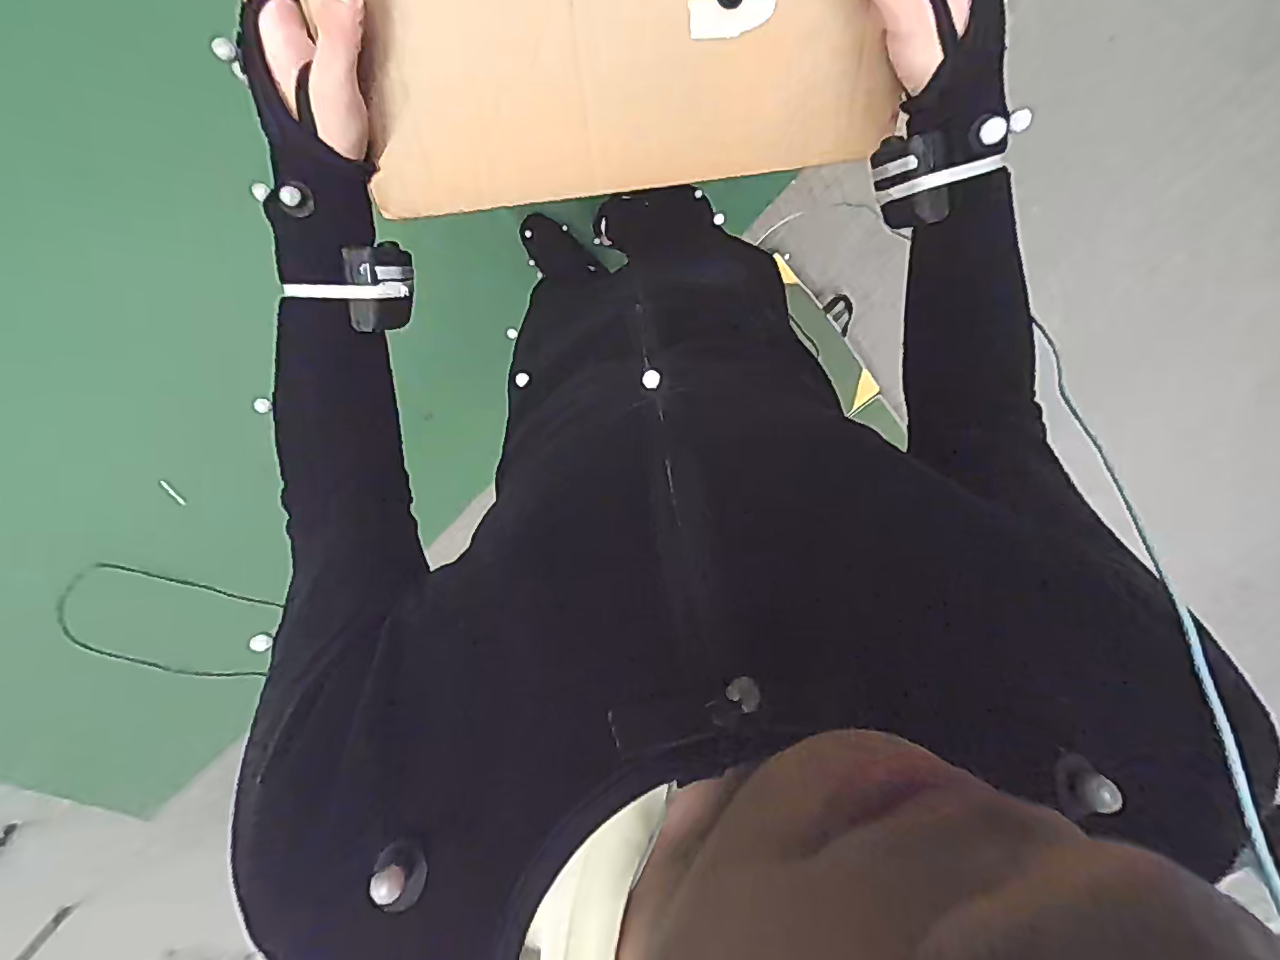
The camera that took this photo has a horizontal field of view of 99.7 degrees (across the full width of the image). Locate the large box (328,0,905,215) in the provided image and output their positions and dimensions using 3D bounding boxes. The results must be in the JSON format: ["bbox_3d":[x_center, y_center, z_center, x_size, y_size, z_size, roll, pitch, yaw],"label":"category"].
[{"bbox_3d":[-0.033,-0.449,0.456,0.408,0.320,0.320,-10,130,-5],"label":"large box"}]
